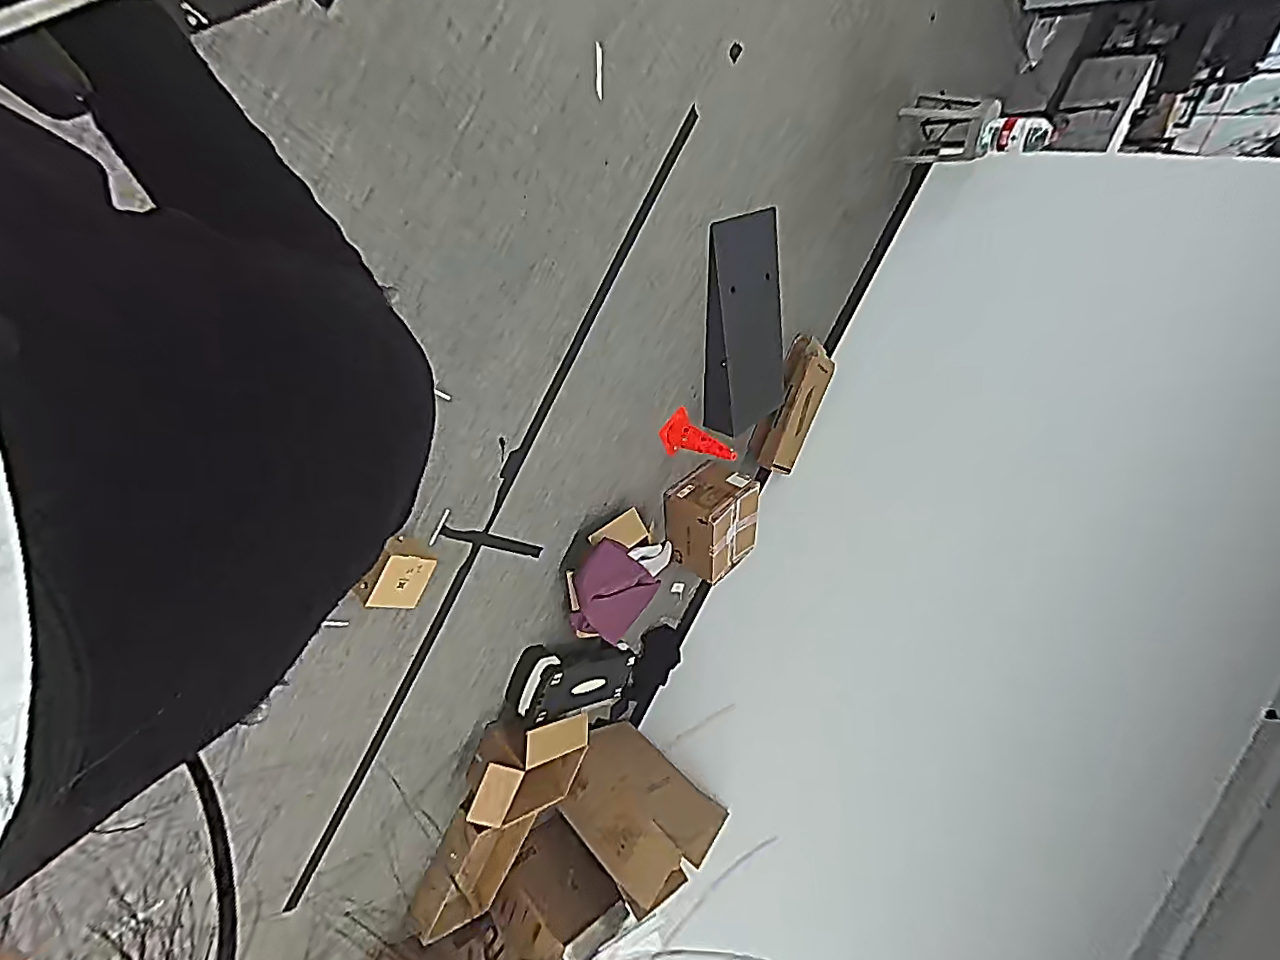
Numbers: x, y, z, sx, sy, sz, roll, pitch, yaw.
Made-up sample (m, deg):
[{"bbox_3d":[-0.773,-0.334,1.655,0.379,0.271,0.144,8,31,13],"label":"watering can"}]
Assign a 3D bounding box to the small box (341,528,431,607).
[{"bbox_3d":[-0.794,0.273,1.678,0.168,0.176,0.179,25,93,-55],"label":"small box"}]
